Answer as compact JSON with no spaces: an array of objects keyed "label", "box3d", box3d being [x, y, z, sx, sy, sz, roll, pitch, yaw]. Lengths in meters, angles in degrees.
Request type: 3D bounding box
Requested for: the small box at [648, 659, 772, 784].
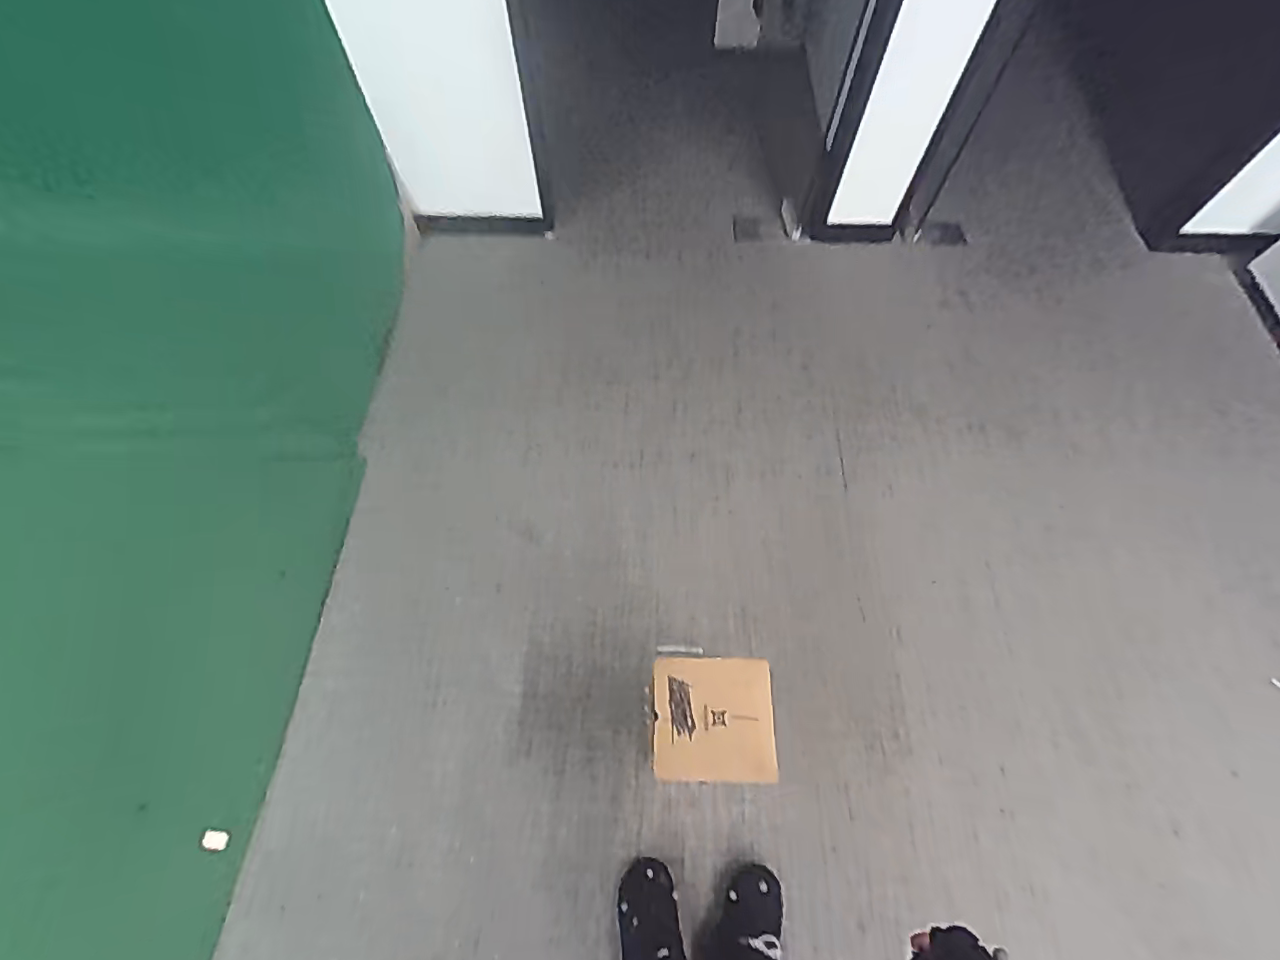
[{"label":"small box","box3d":[0.104,0.389,0.867,0.179,0.176,0.168,1,63,2]}]
